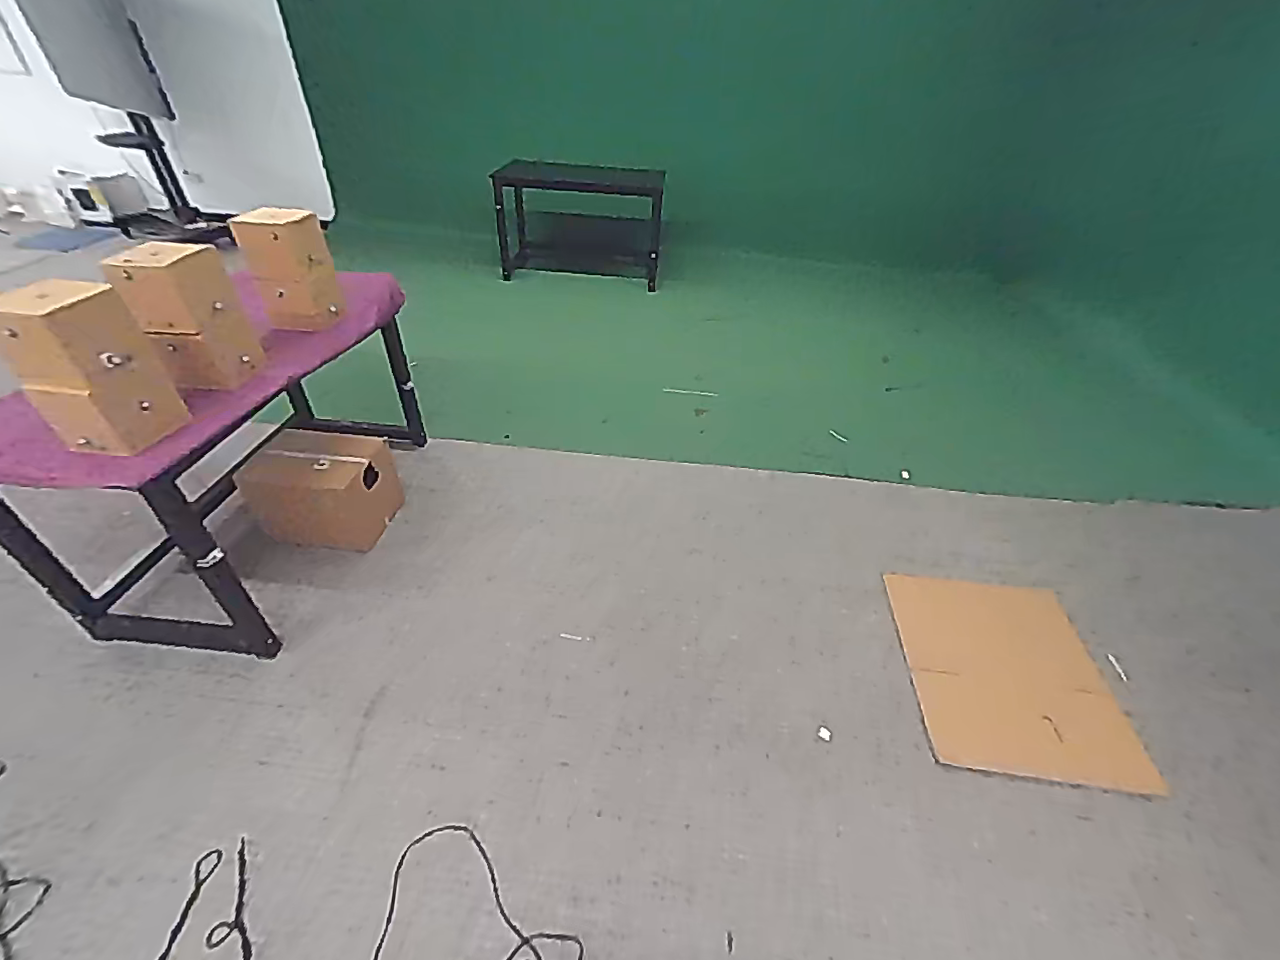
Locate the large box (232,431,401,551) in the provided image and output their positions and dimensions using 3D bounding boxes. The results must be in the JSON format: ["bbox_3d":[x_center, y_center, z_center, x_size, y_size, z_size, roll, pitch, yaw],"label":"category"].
[{"bbox_3d":[-1.184,0.041,2.030,0.408,0.320,0.320,6,40,2],"label":"large box"}]

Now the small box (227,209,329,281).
[{"bbox_3d":[-1.107,-0.725,1.670,0.179,0.176,0.168,6,39,2],"label":"small box"}]

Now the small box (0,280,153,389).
[{"bbox_3d":[-1.208,-0.307,1.141,0.179,0.176,0.168,7,40,5],"label":"small box"}]

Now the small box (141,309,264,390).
[{"bbox_3d":[-1.179,-0.357,1.466,0.179,0.176,0.168,4,40,2],"label":"small box"}]

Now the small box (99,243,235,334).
[{"bbox_3d":[-1.171,-0.483,1.361,0.168,0.176,0.179,3,38,2],"label":"small box"}]

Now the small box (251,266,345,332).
[{"bbox_3d":[-1.109,-0.597,1.771,0.179,0.176,0.168,6,39,3],"label":"small box"}]
